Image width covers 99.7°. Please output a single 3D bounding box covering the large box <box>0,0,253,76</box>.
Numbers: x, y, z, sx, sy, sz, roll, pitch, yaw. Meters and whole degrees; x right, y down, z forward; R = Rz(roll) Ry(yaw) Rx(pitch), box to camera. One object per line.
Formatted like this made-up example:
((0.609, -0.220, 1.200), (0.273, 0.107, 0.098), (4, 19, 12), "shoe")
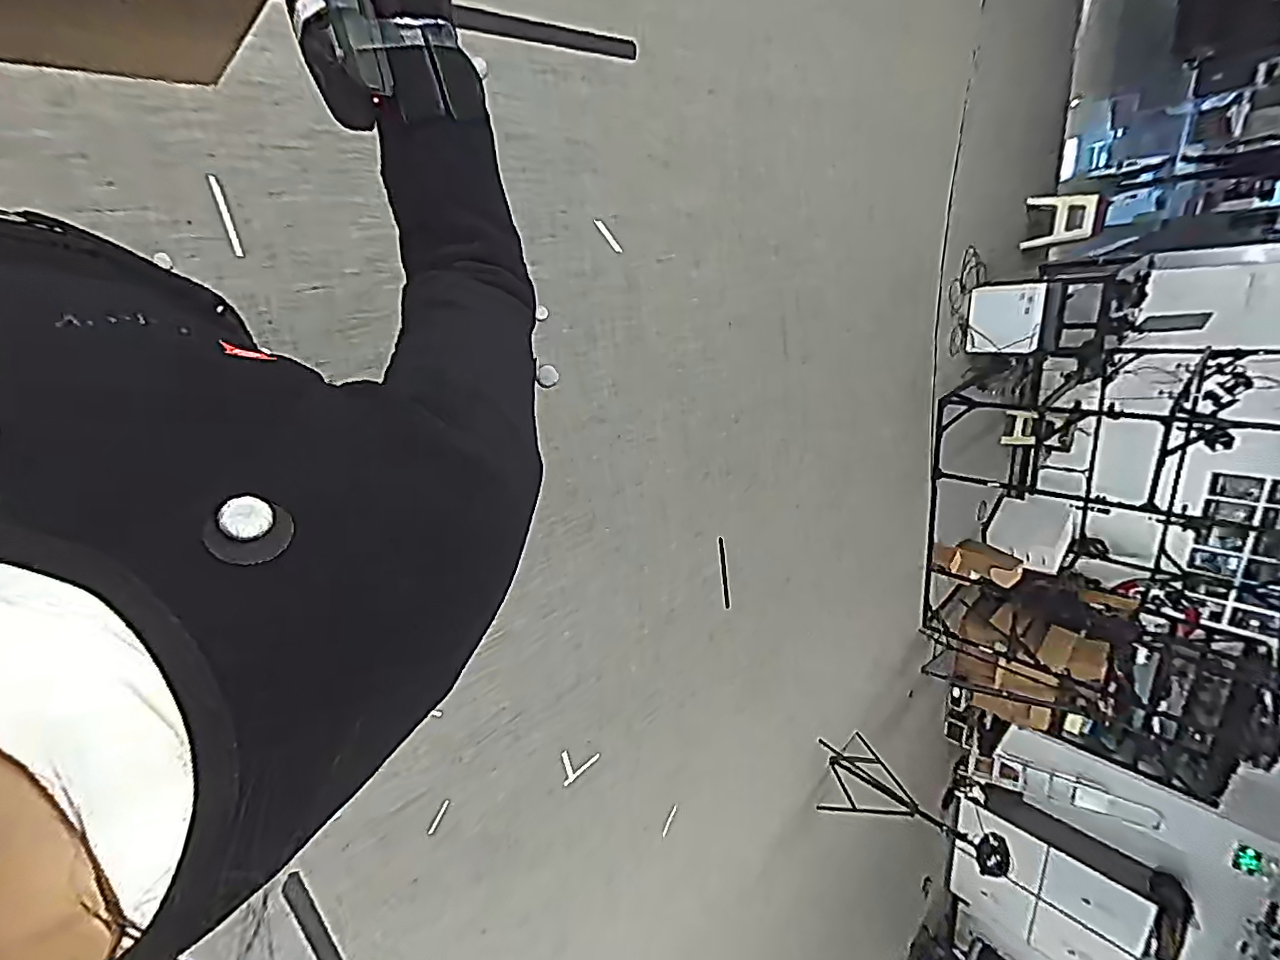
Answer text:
((-0.446, -0.397, 0.212), (0.408, 0.320, 0.320), (-22, 124, -37), "large box")
